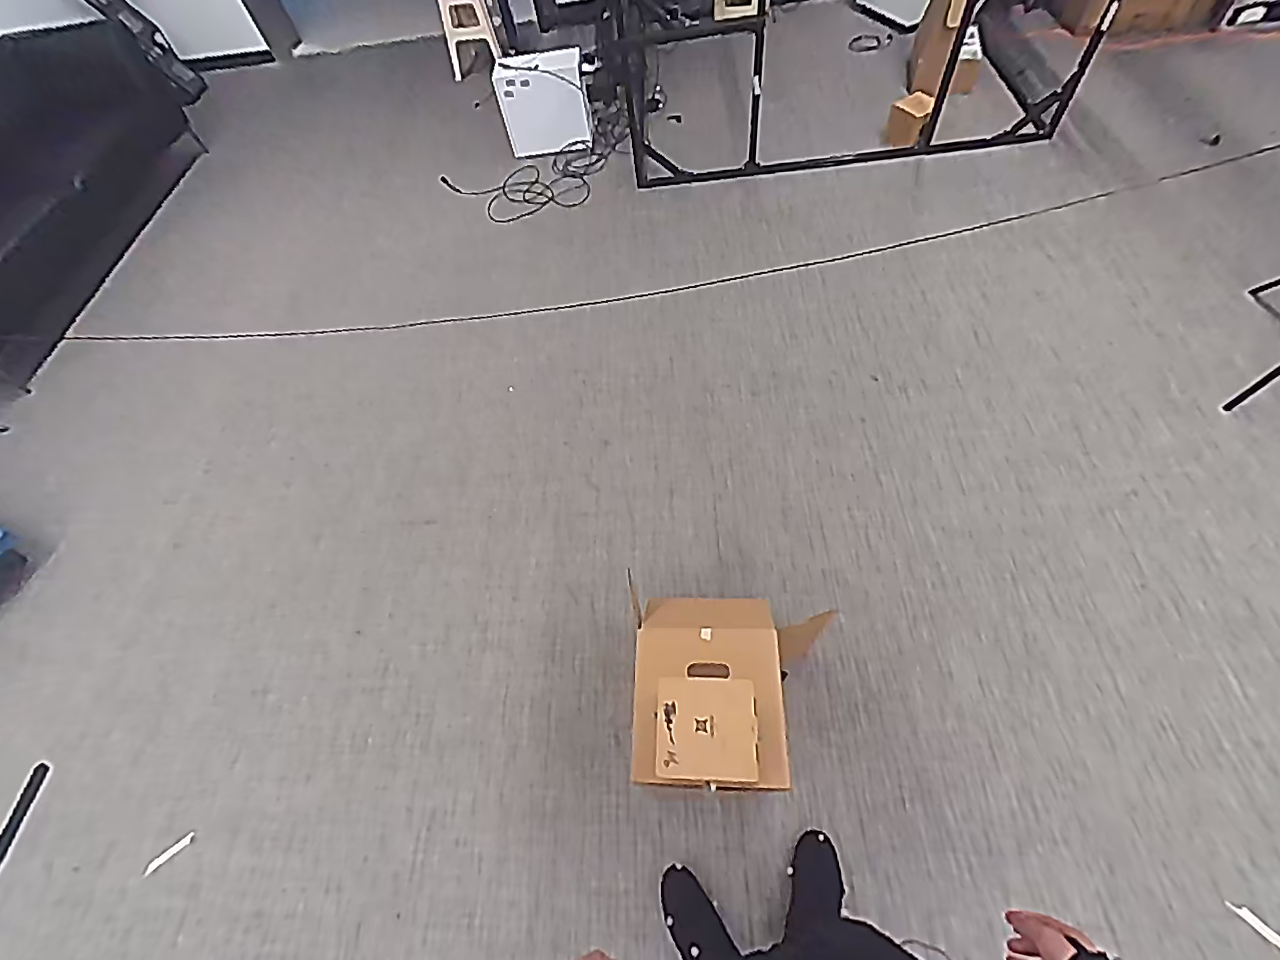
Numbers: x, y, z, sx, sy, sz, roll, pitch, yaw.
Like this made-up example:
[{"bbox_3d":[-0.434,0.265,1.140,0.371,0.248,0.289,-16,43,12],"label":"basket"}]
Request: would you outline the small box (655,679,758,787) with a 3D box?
[{"bbox_3d":[0.125,0.481,1.026,0.179,0.176,0.168,0,60,7],"label":"small box"}]
